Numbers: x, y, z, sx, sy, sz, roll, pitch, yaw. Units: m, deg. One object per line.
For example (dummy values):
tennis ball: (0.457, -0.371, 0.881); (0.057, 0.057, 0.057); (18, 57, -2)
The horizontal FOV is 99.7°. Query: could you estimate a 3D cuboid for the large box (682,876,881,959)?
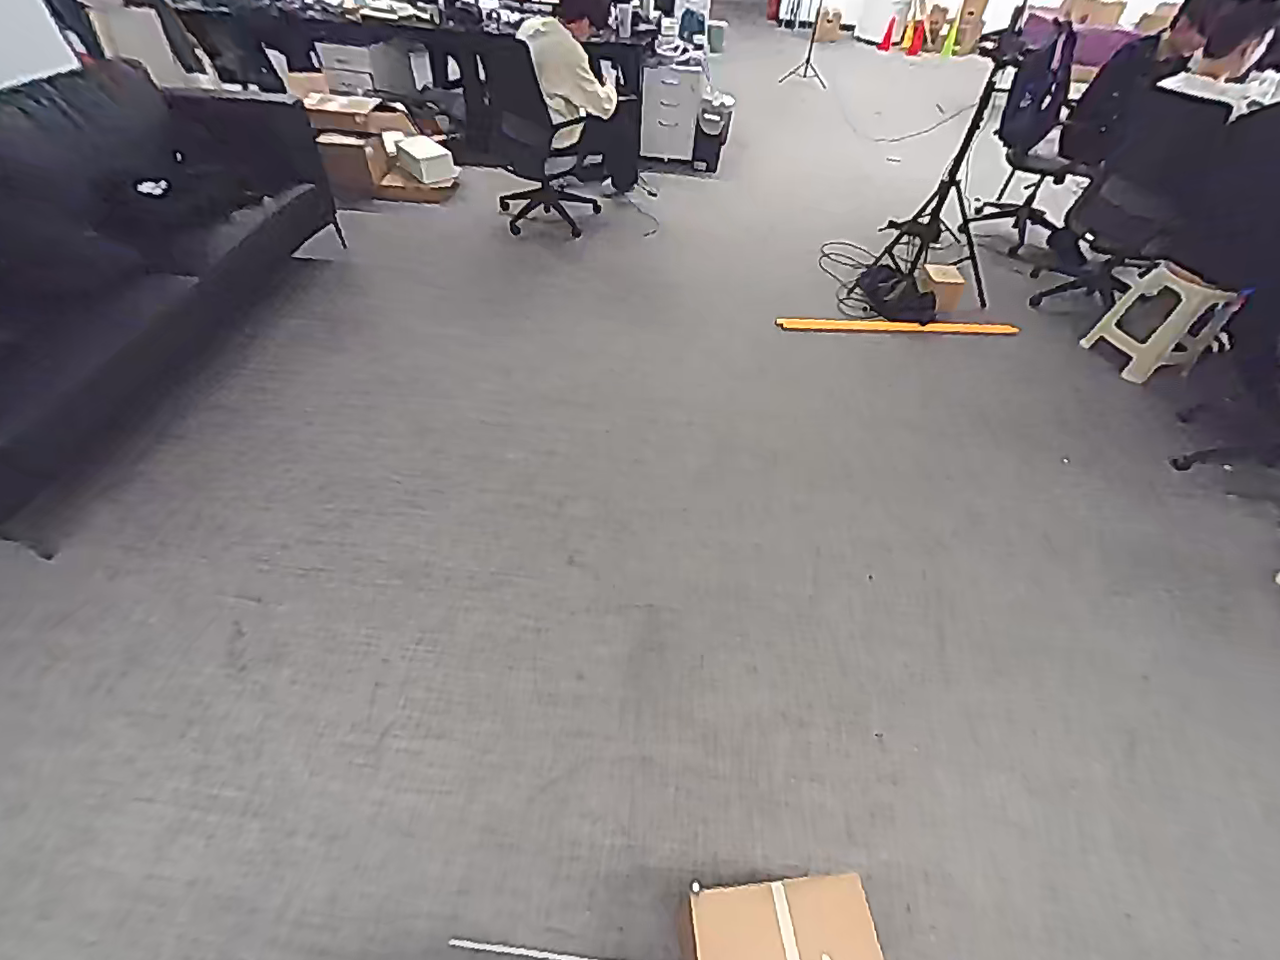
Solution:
large box: (0.263, 0.985, 0.956); (0.320, 0.320, 0.408); (-3, 48, -5)
